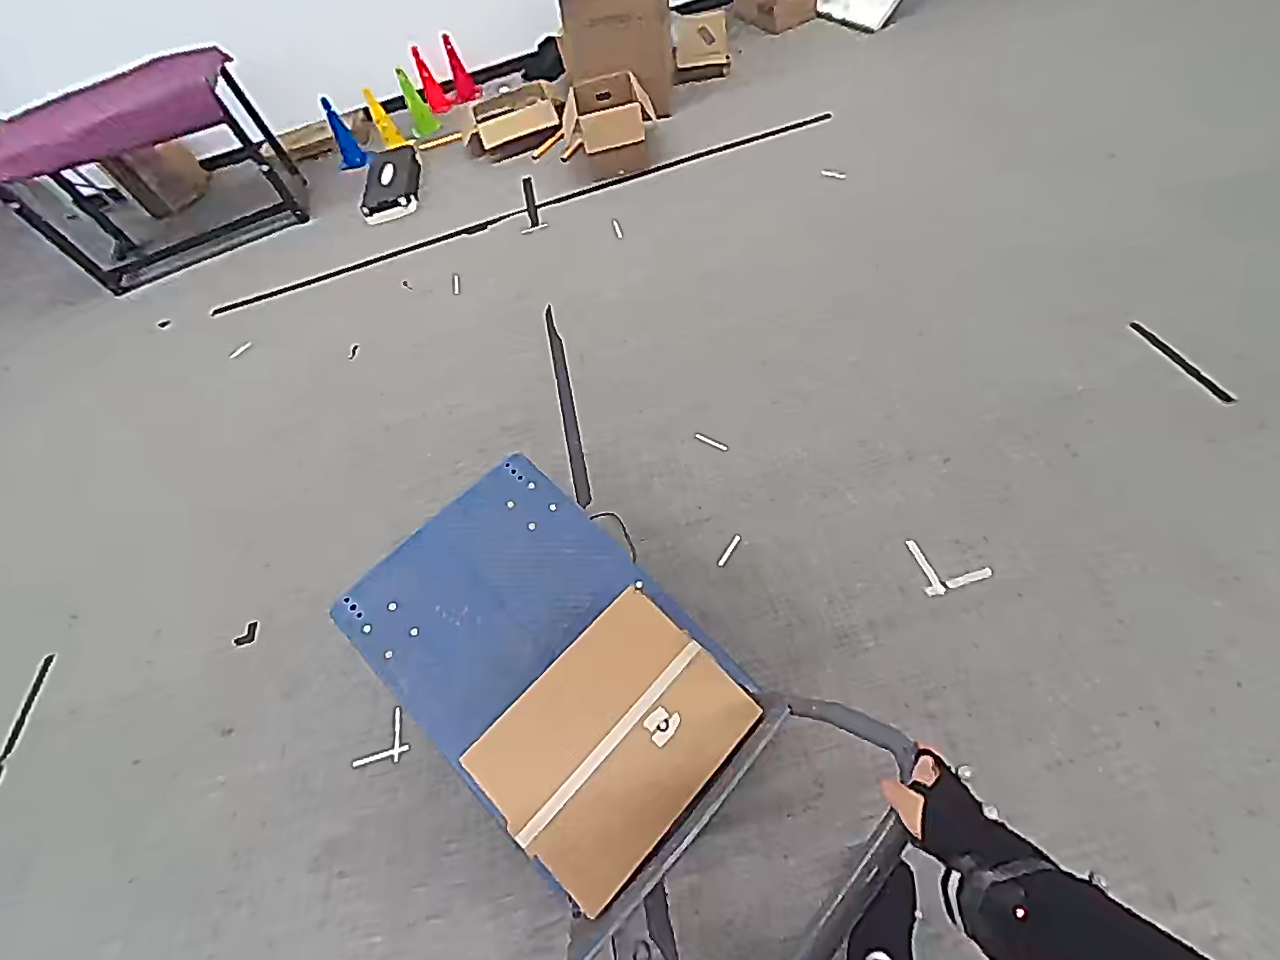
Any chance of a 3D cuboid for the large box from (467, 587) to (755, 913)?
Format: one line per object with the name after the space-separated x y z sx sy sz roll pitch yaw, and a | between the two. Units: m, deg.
-0.049 0.482 1.041 0.320 0.320 0.408 42 72 13 | large box
